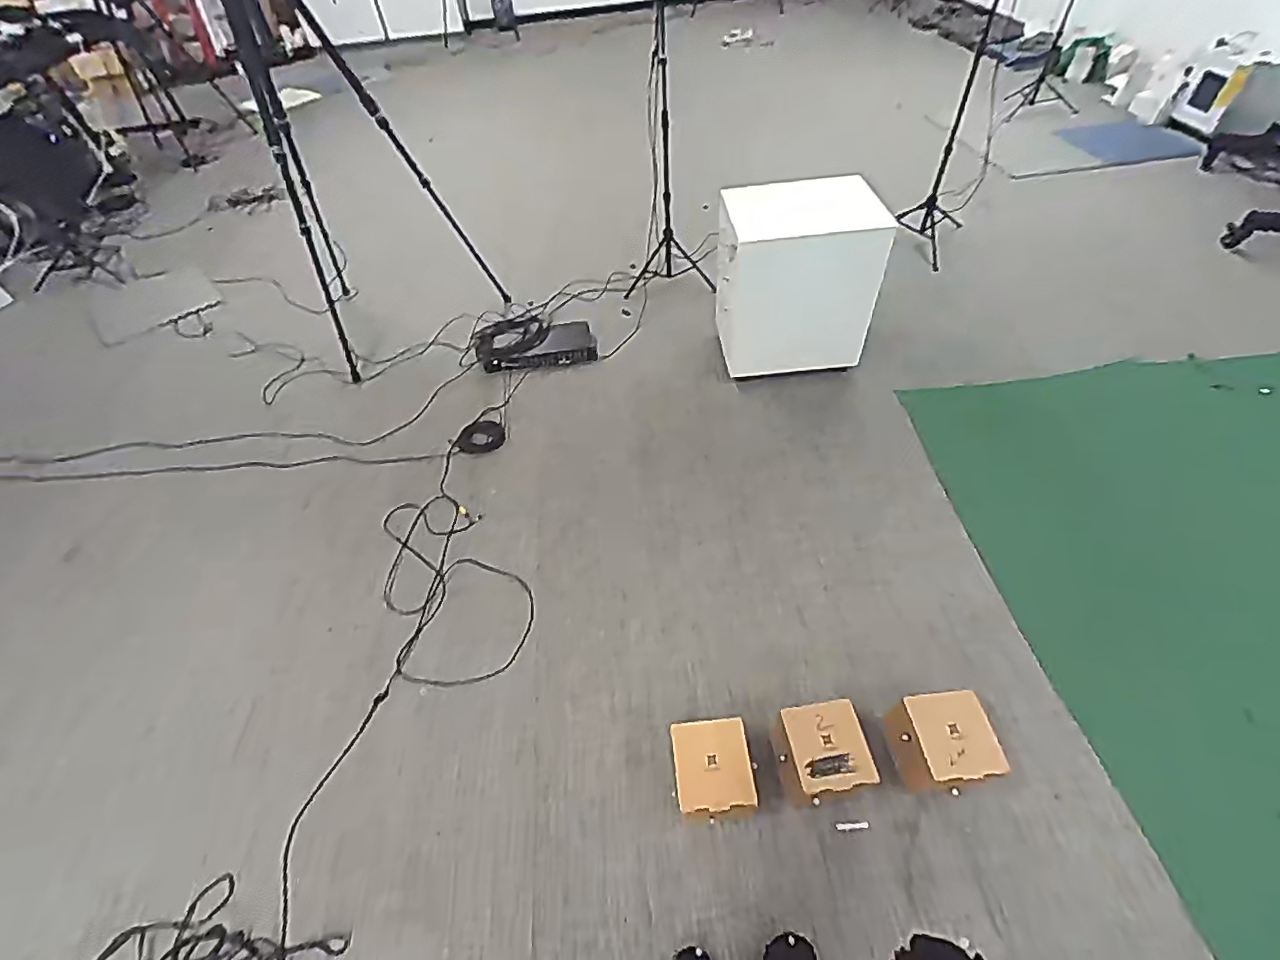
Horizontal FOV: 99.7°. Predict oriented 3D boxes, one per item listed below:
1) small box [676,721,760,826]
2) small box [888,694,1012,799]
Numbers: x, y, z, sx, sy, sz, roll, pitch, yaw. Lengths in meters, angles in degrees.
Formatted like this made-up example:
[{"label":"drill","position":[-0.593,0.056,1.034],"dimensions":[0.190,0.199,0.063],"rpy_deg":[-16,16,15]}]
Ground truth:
[{"label":"small box","position":[0.172,0.678,1.246],"dimensions":[0.168,0.176,0.179],"rpy_deg":[-7,50,1]},{"label":"small box","position":[0.699,0.616,1.246],"dimensions":[0.168,0.176,0.179],"rpy_deg":[-7,50,1]}]
